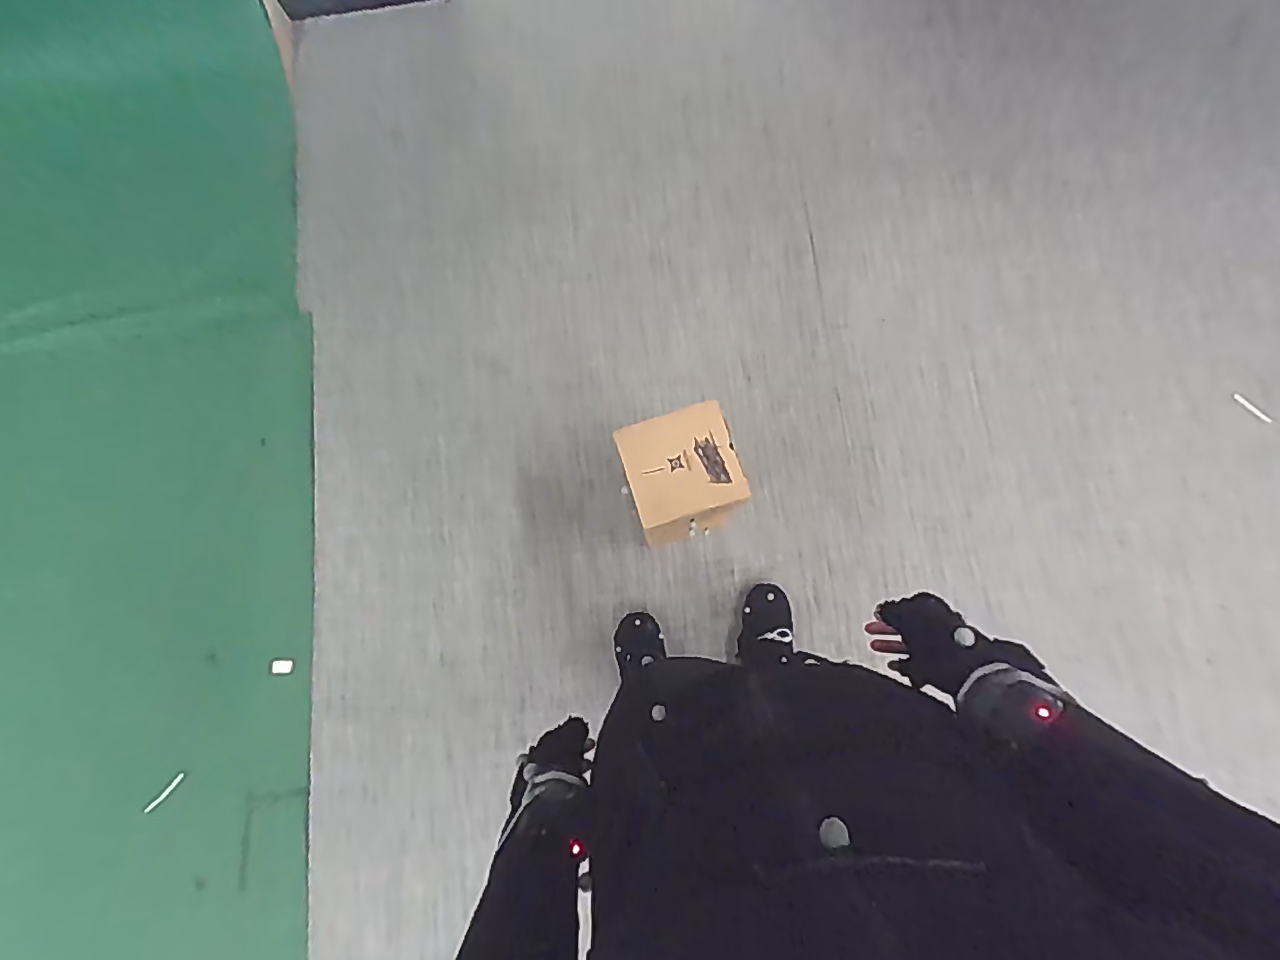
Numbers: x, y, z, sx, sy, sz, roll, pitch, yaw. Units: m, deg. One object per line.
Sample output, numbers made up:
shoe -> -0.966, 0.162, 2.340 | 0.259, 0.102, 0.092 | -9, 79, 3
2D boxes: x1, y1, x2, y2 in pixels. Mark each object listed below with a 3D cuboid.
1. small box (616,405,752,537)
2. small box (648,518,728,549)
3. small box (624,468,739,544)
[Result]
small box -> 0.070, -0.007, 0.916 | 0.179, 0.176, 0.168 | -18, 79, 1
small box -> 0.087, 0.054, 1.239 | 0.179, 0.176, 0.168 | -19, 79, 1
small box -> 0.079, 0.023, 1.081 | 0.179, 0.176, 0.168 | -21, 81, 0
